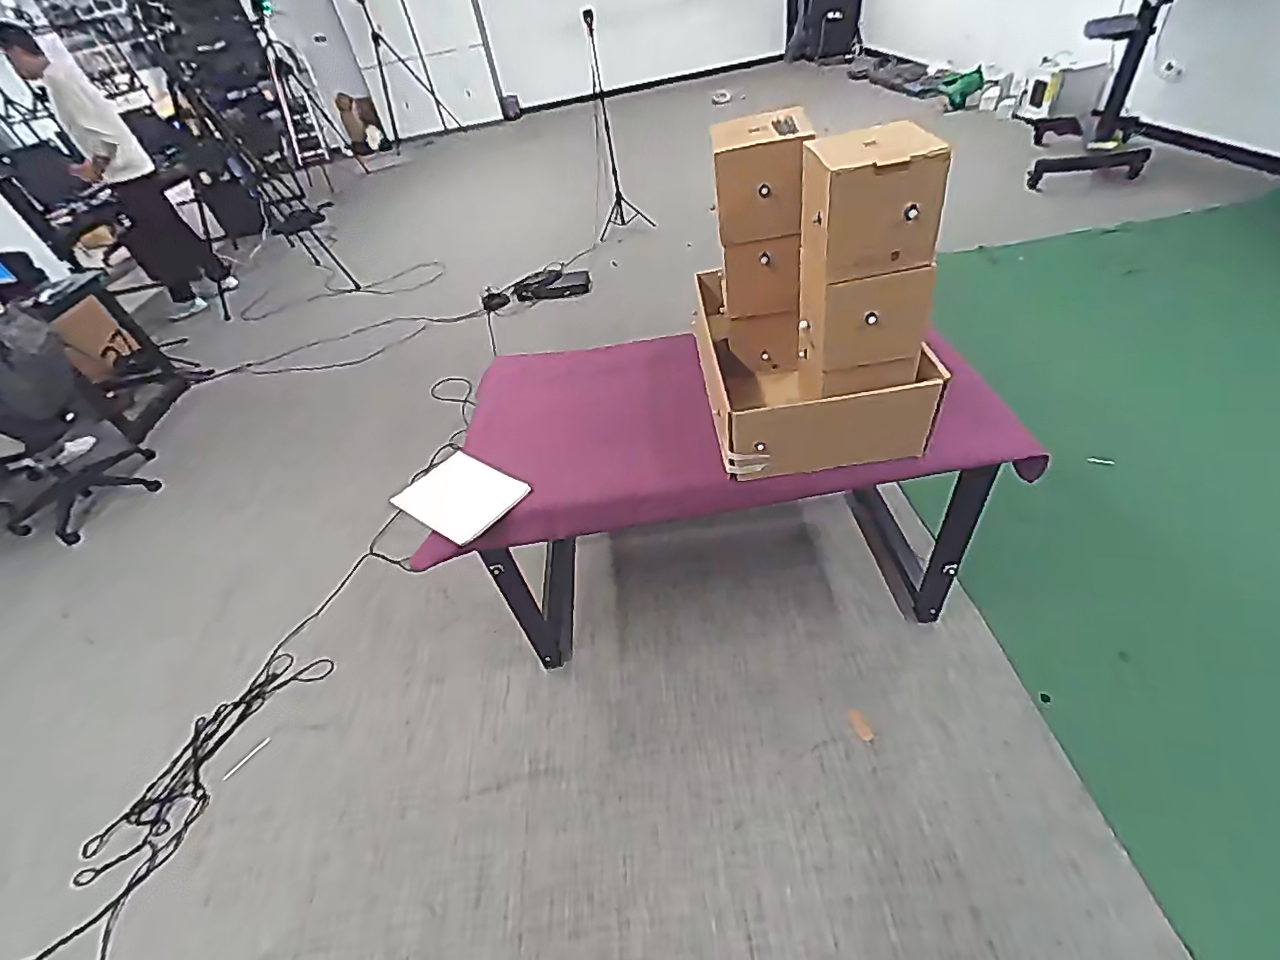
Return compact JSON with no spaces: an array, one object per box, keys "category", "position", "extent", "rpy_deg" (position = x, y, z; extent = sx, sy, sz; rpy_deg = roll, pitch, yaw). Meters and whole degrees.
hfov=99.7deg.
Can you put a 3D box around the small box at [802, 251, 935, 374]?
[{"category":"small box","position":[0.394,-0.313,0.967],"extent":[0.179,0.176,0.168],"rpy_deg":[-9,43,8]}]

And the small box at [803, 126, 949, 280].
[{"category":"small box","position":[0.361,-0.433,0.861],"extent":[0.168,0.176,0.179],"rpy_deg":[-8,43,7]}]

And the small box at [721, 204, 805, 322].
[{"category":"small box","position":[0.269,-0.462,1.158],"extent":[0.179,0.176,0.168],"rpy_deg":[-5,47,10]}]
